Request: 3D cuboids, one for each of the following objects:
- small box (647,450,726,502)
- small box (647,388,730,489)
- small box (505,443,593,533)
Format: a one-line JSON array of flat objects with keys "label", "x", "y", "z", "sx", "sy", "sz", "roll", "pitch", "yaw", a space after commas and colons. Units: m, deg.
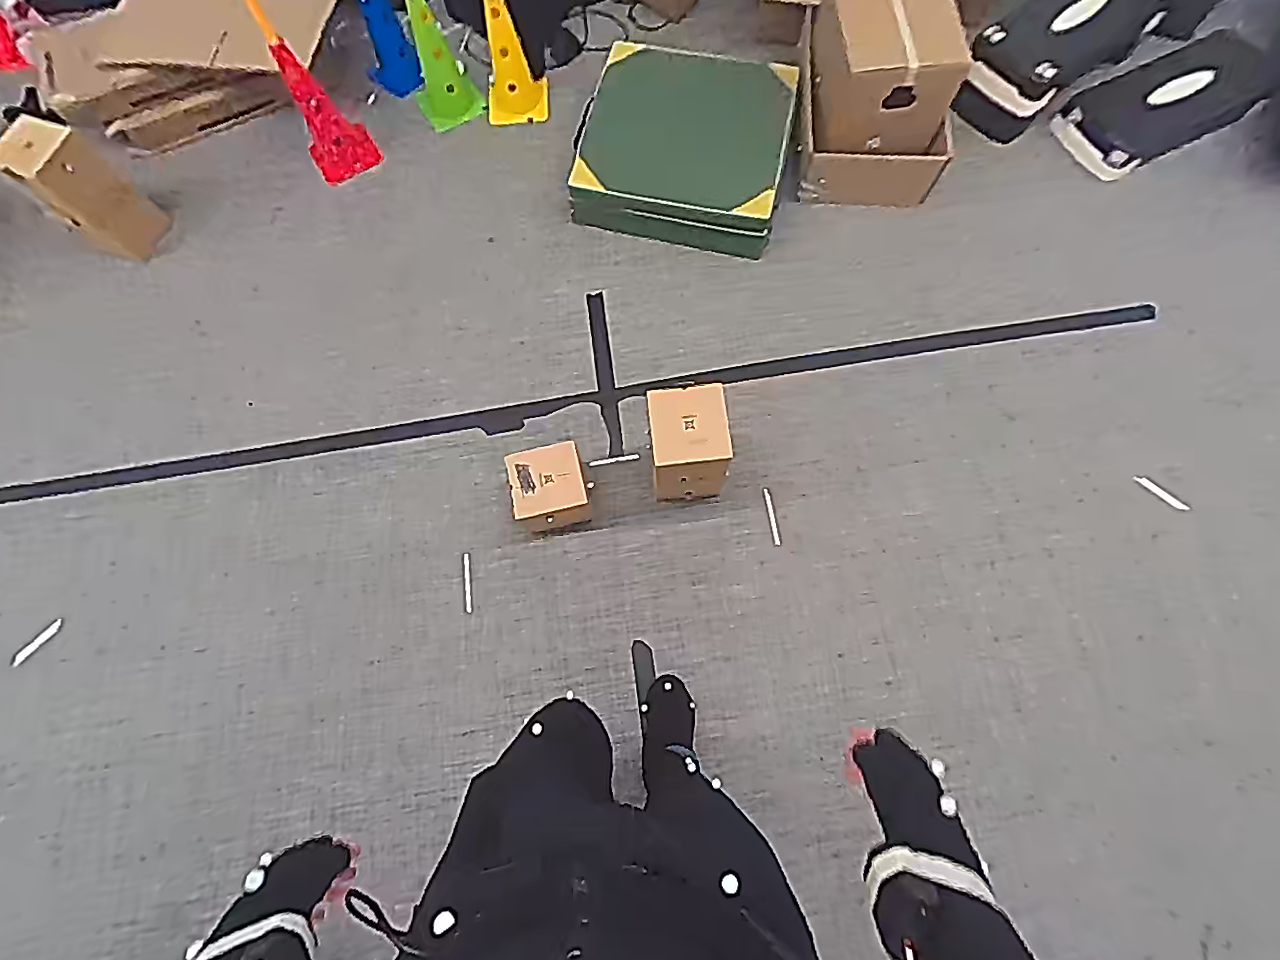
[{"label": "small box", "x": 0.113, "y": -0.047, "z": 1.385, "sx": 0.179, "sy": 0.176, "sz": 0.168, "roll": -4, "pitch": 72, "yaw": -2}, {"label": "small box", "x": 0.102, "y": -0.089, "z": 1.228, "sx": 0.168, "sy": 0.176, "sz": 0.179, "roll": -5, "pitch": 74, "yaw": 0}, {"label": "small box", "x": -0.226, "y": 0.027, "z": 1.367, "sx": 0.179, "sy": 0.176, "sz": 0.168, "roll": -13, "pitch": 73, "yaw": -4}]
